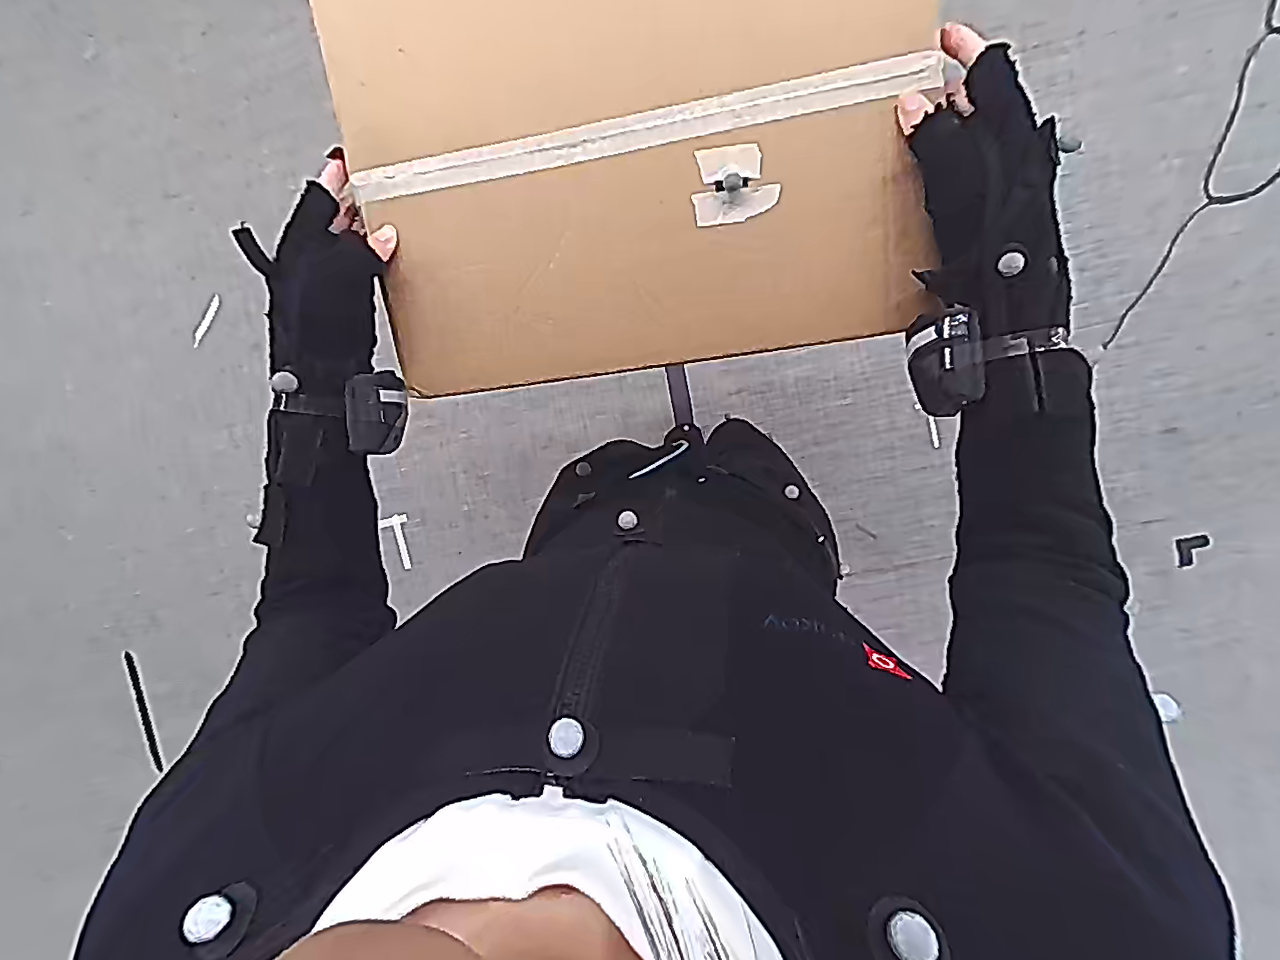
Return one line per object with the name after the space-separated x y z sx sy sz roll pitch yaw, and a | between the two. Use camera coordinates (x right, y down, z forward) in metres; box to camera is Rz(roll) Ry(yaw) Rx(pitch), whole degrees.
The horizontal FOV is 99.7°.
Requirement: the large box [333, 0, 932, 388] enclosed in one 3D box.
0.008 -0.283 0.529 0.408 0.320 0.320 -7 104 8 | large box
